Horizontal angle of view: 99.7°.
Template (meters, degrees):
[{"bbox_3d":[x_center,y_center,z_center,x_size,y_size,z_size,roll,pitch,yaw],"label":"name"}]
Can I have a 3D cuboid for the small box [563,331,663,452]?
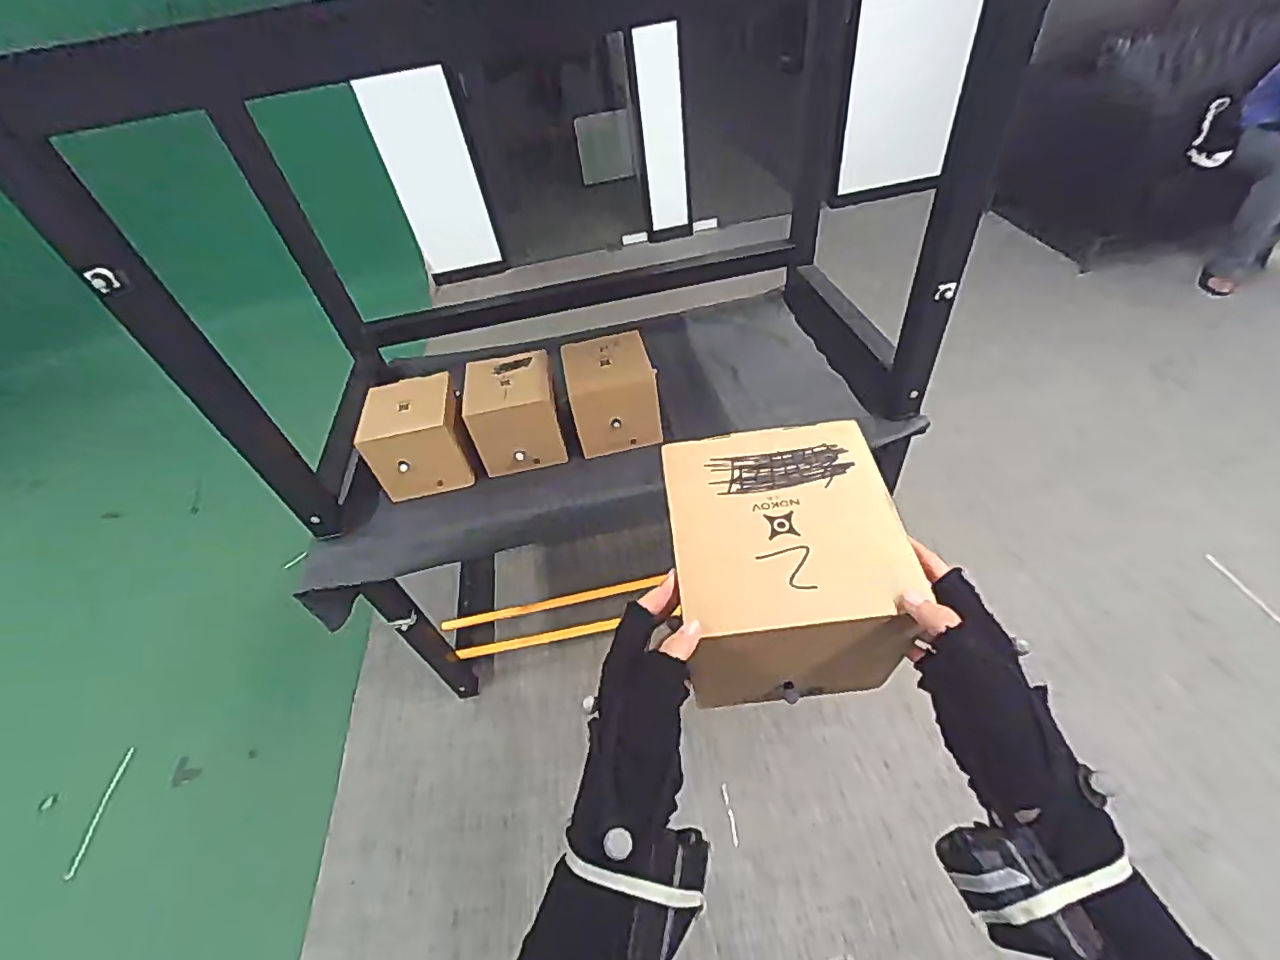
[{"bbox_3d":[-0.054,-0.174,1.104,0.168,0.176,0.179,-12,45,-3],"label":"small box"}]

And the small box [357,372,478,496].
[{"bbox_3d":[-0.434,-0.086,1.087,0.168,0.176,0.179,-12,45,-3],"label":"small box"}]
